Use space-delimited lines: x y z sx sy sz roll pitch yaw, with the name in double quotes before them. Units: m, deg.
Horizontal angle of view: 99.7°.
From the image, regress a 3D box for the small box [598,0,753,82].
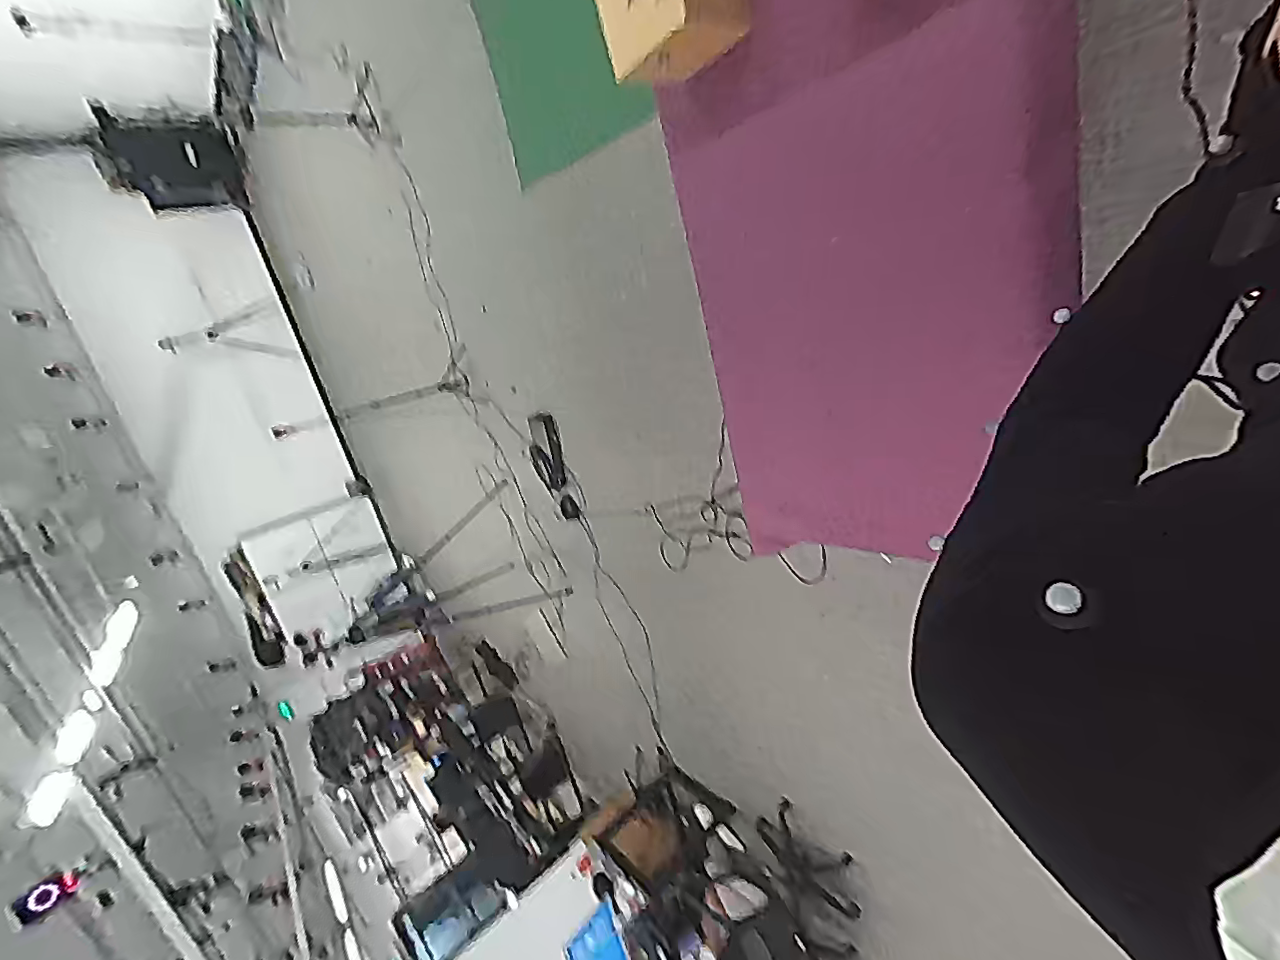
"small box" 0.054 -0.778 0.879 0.179 0.176 0.168 4 117 51
